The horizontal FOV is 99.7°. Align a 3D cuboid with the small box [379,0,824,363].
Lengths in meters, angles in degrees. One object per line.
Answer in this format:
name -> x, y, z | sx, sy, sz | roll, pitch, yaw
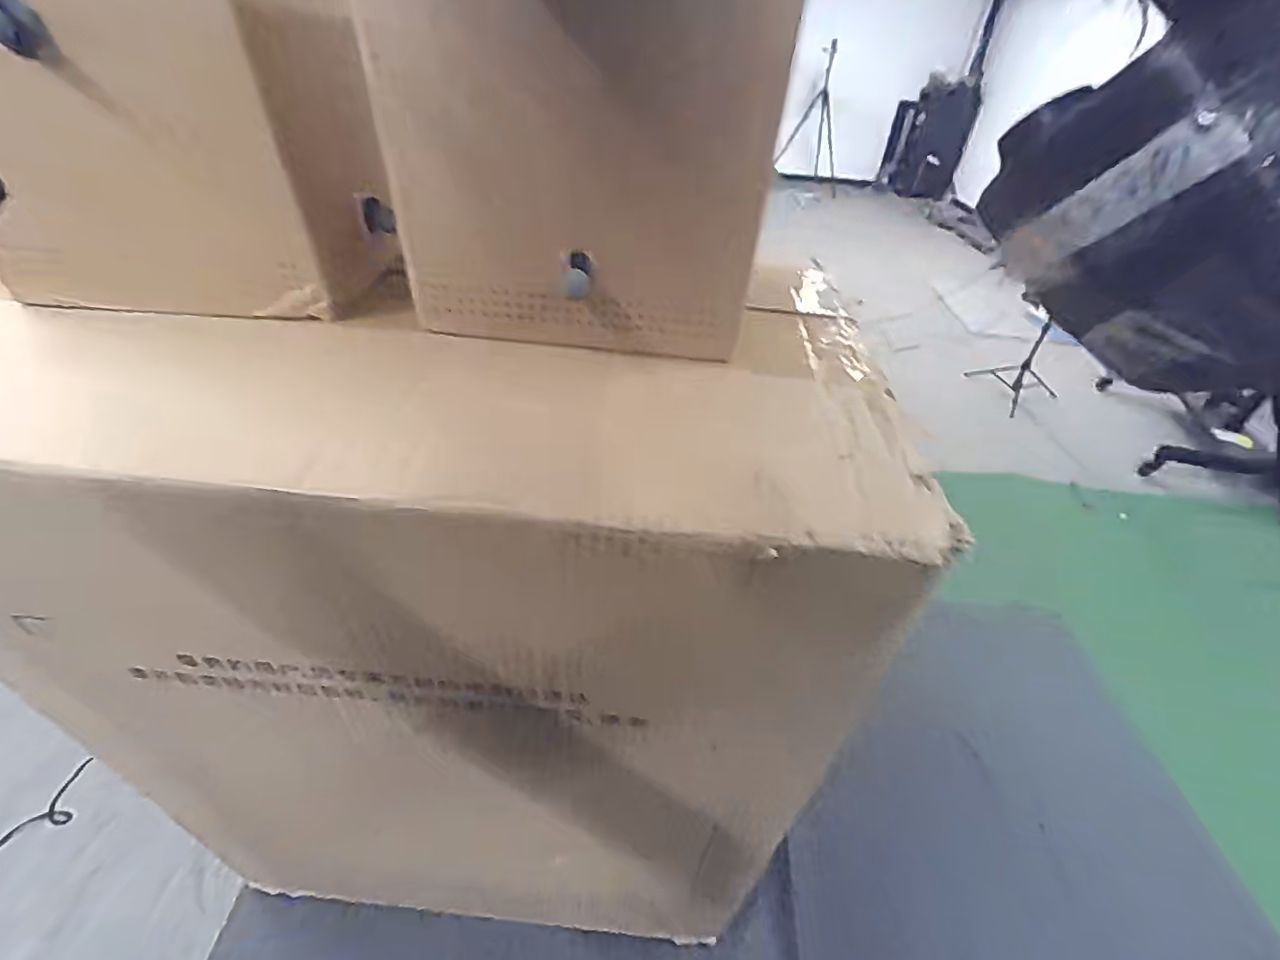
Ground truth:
small box -> -0.017, -0.183, 0.313 | 0.179, 0.176, 0.168 | 5, 40, 0
